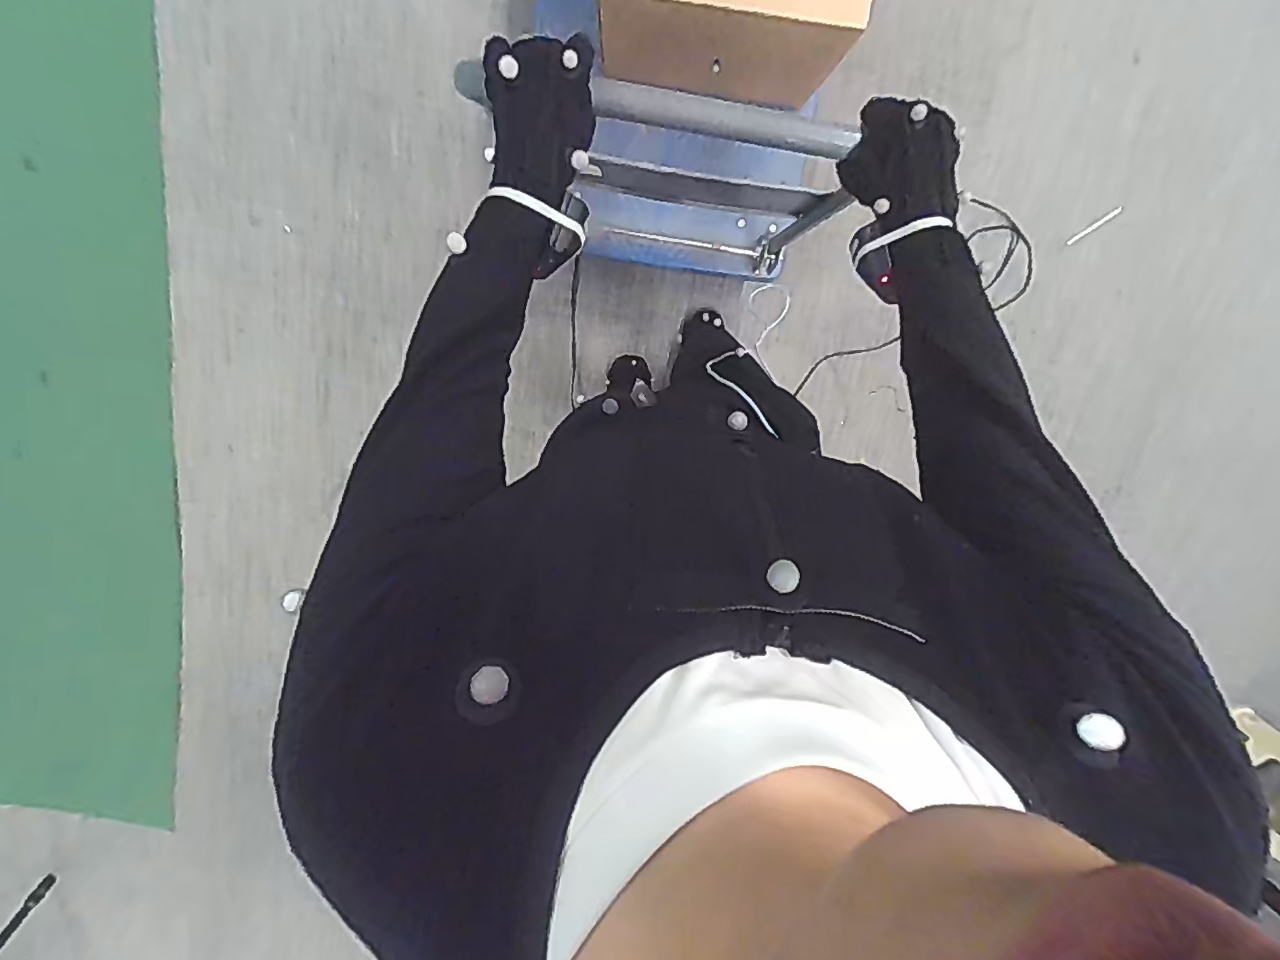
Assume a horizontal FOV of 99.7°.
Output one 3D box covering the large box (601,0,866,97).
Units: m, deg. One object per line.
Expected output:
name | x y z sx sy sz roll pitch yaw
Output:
large box | 0.154 -0.891 0.903 0.408 0.320 0.320 6 106 -2
